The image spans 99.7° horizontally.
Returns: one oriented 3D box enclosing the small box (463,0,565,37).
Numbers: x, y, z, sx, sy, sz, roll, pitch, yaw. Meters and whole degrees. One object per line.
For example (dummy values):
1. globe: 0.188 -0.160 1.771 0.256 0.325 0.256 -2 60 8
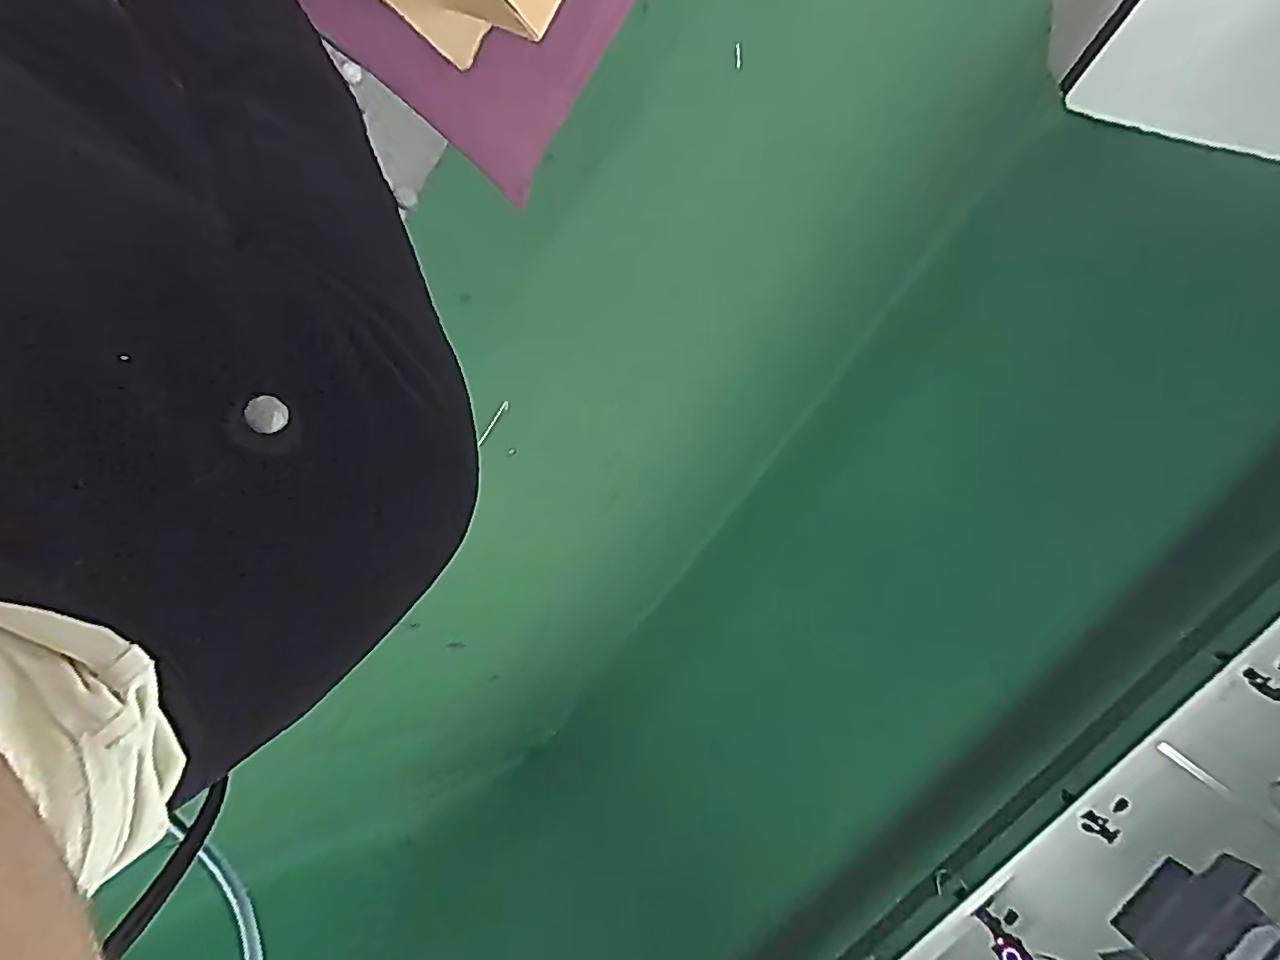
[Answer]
1. small box: -0.134 -0.530 0.441 0.179 0.176 0.168 -54 152 15
